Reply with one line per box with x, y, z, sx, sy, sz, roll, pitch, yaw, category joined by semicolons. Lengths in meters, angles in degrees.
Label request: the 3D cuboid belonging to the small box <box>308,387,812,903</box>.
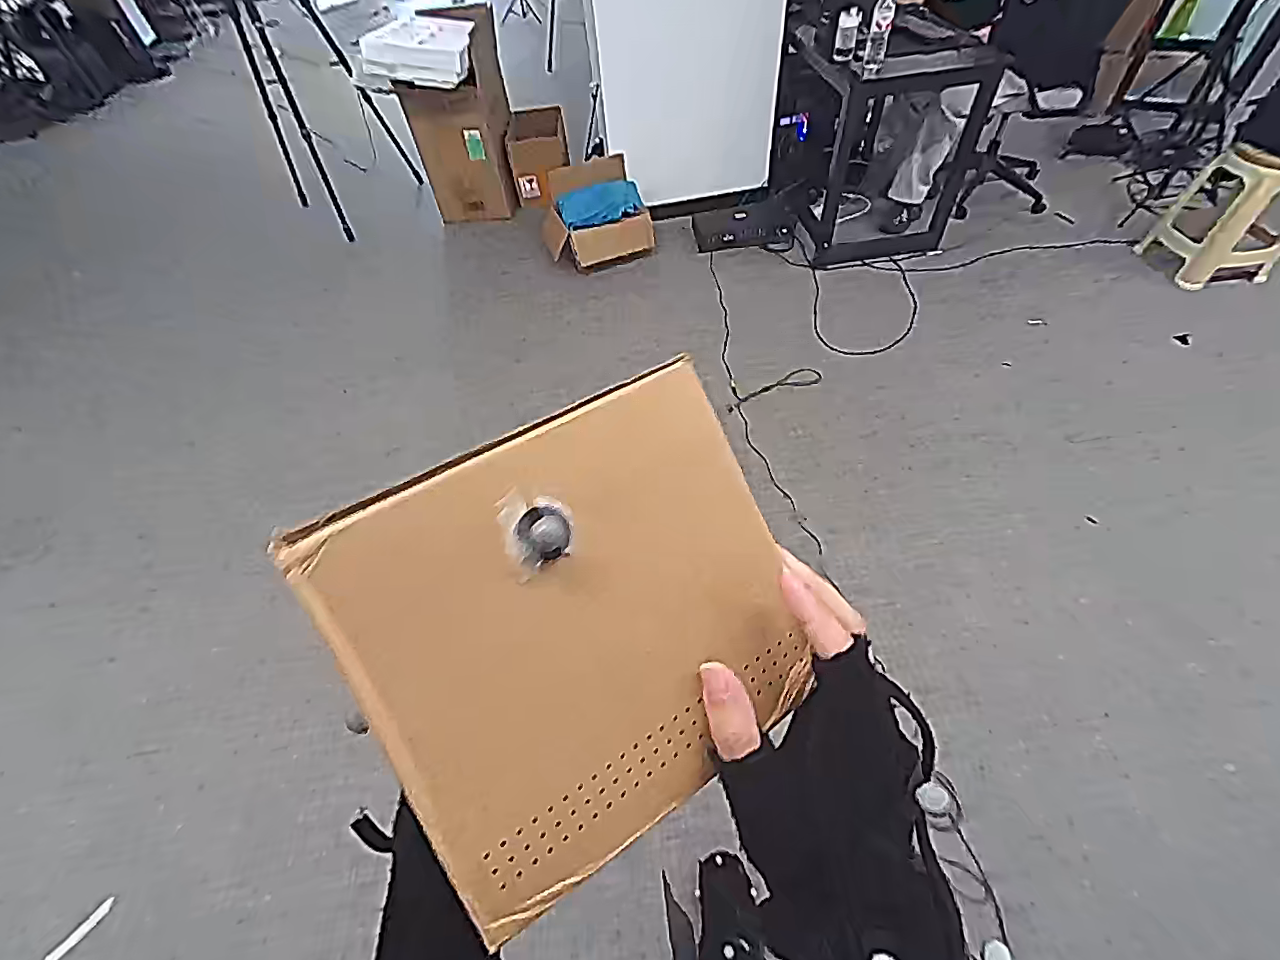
-0.039;0.074;0.307;0.179;0.168;0.176;-28;95;-18;small box
